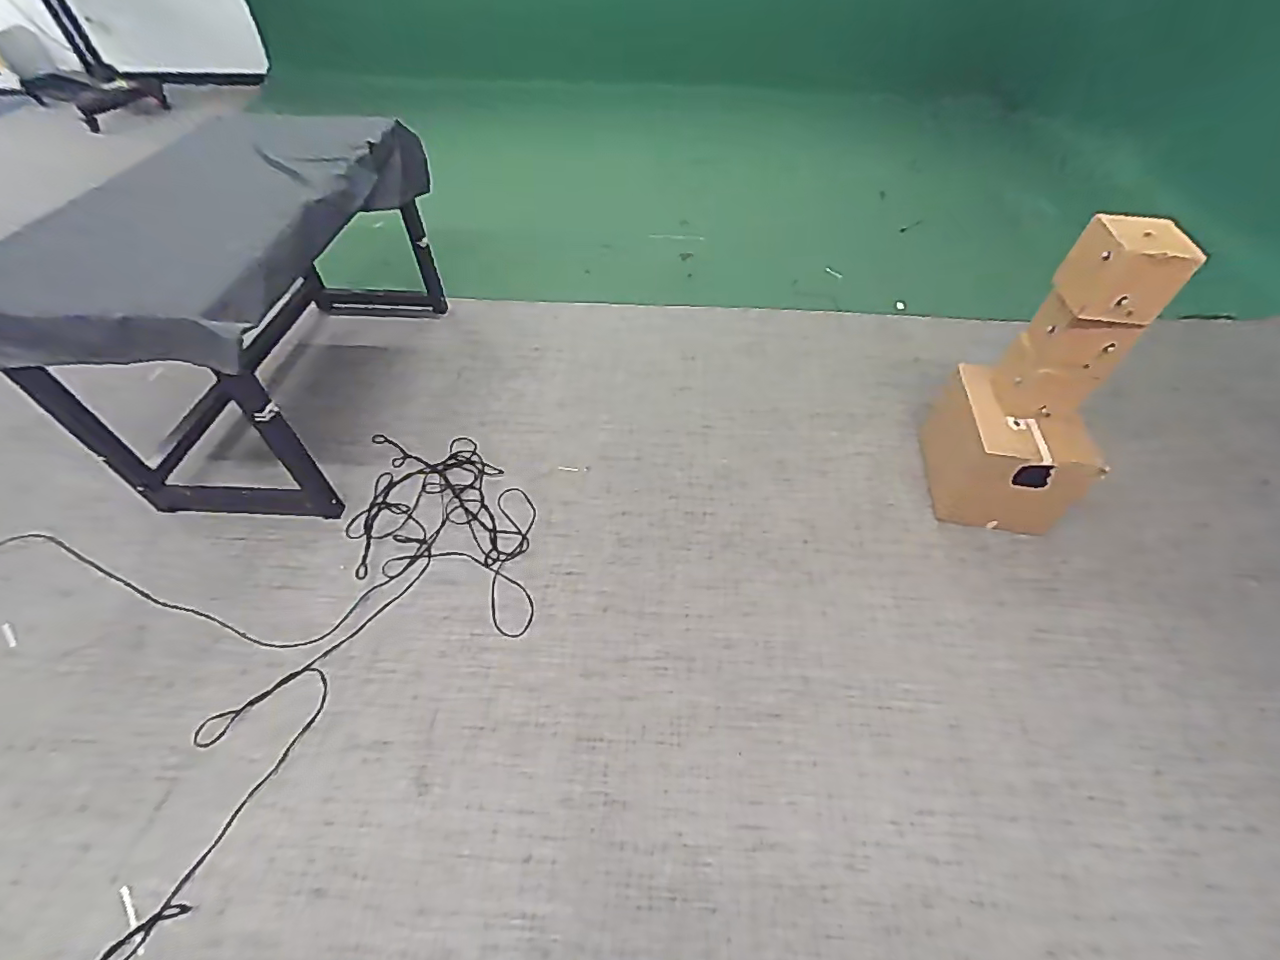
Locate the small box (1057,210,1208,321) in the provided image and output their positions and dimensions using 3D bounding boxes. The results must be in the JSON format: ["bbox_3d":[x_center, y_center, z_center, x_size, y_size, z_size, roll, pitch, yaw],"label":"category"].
[{"bbox_3d":[1.119,-0.496,1.250,0.168,0.176,0.179,7,51,4],"label":"small box"}]

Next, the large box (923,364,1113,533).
[{"bbox_3d":[1.116,-0.100,1.662,0.320,0.320,0.408,7,51,7],"label":"large box"}]

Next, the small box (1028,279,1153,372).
[{"bbox_3d":[1.138,-0.399,1.382,0.168,0.176,0.179,12,50,8],"label":"small box"}]
